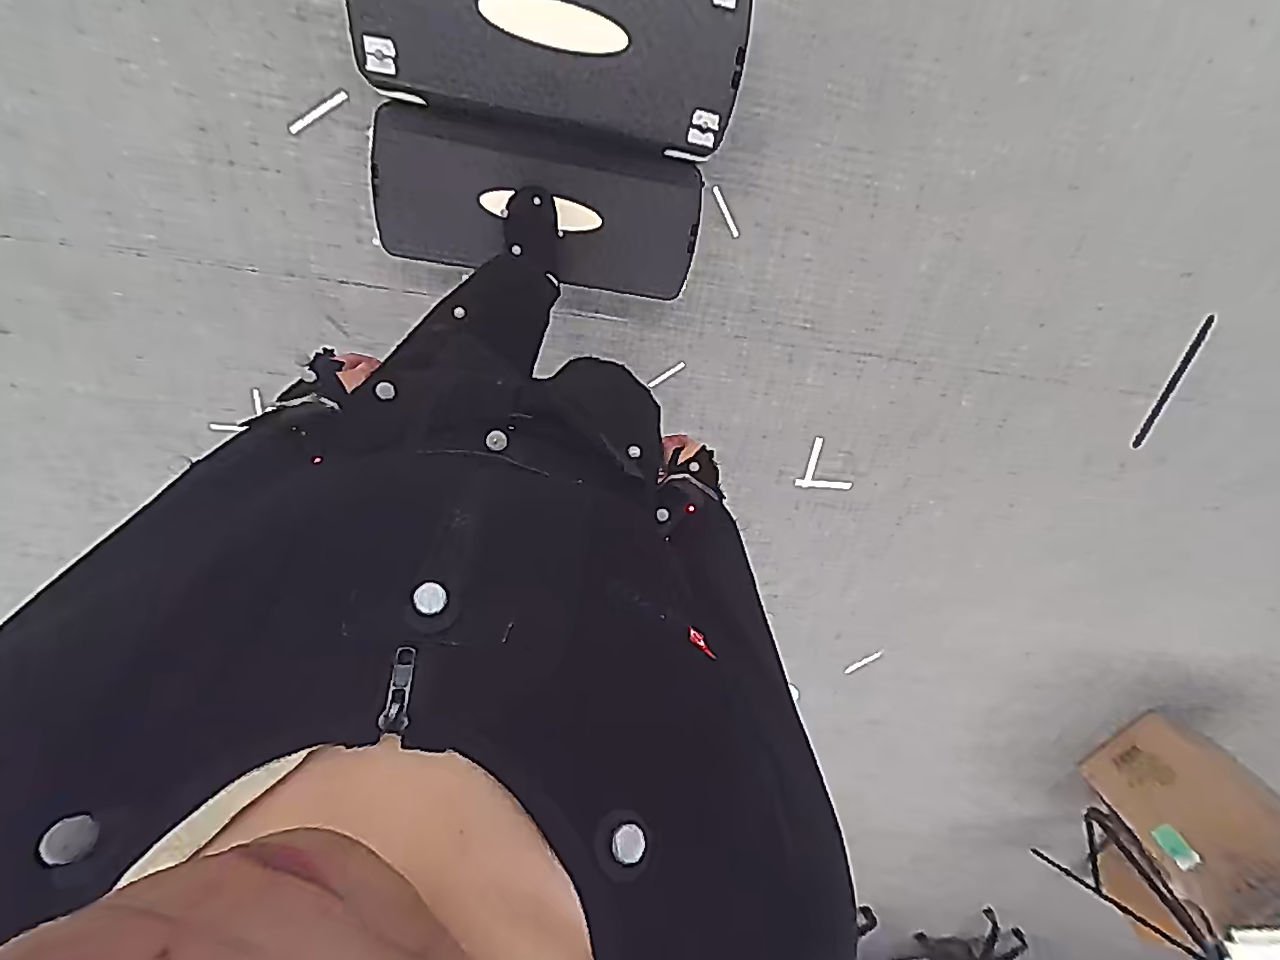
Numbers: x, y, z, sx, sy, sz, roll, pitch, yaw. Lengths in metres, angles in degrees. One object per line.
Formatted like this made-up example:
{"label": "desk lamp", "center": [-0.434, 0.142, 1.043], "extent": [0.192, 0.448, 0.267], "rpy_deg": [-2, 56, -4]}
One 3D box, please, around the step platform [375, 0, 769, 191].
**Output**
{"label": "step platform", "center": [-0.115, -0.779, 1.008], "extent": [0.684, 0.204, 0.286], "rpy_deg": [10, 115, -12]}
